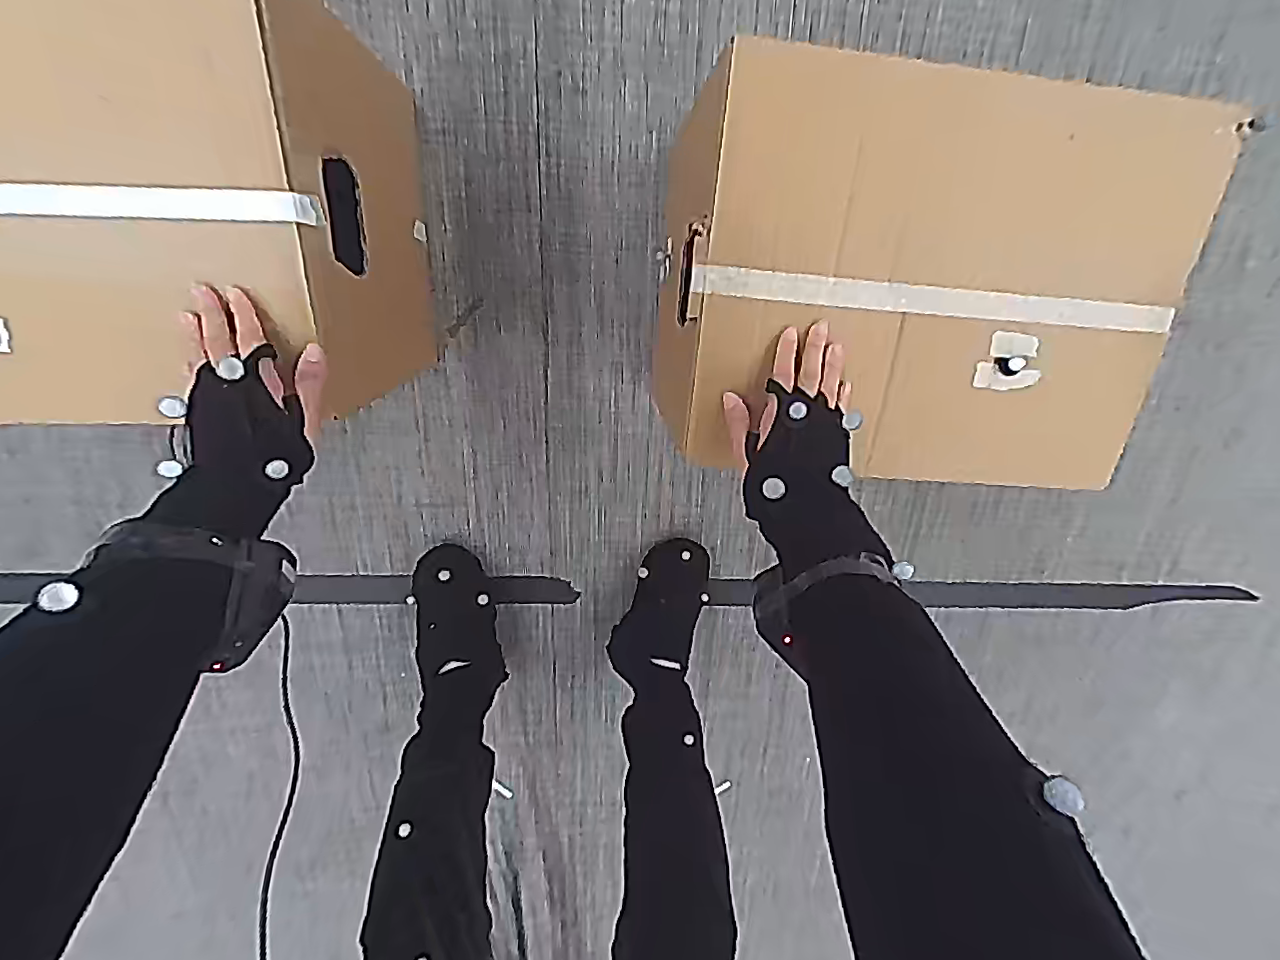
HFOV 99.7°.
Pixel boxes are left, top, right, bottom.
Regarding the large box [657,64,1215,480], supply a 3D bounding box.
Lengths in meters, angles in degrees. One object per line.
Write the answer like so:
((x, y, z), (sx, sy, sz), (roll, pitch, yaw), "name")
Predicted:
((0.241, -0.199, 0.600), (0.408, 0.320, 0.320), (3, 110, -6), "large box")
